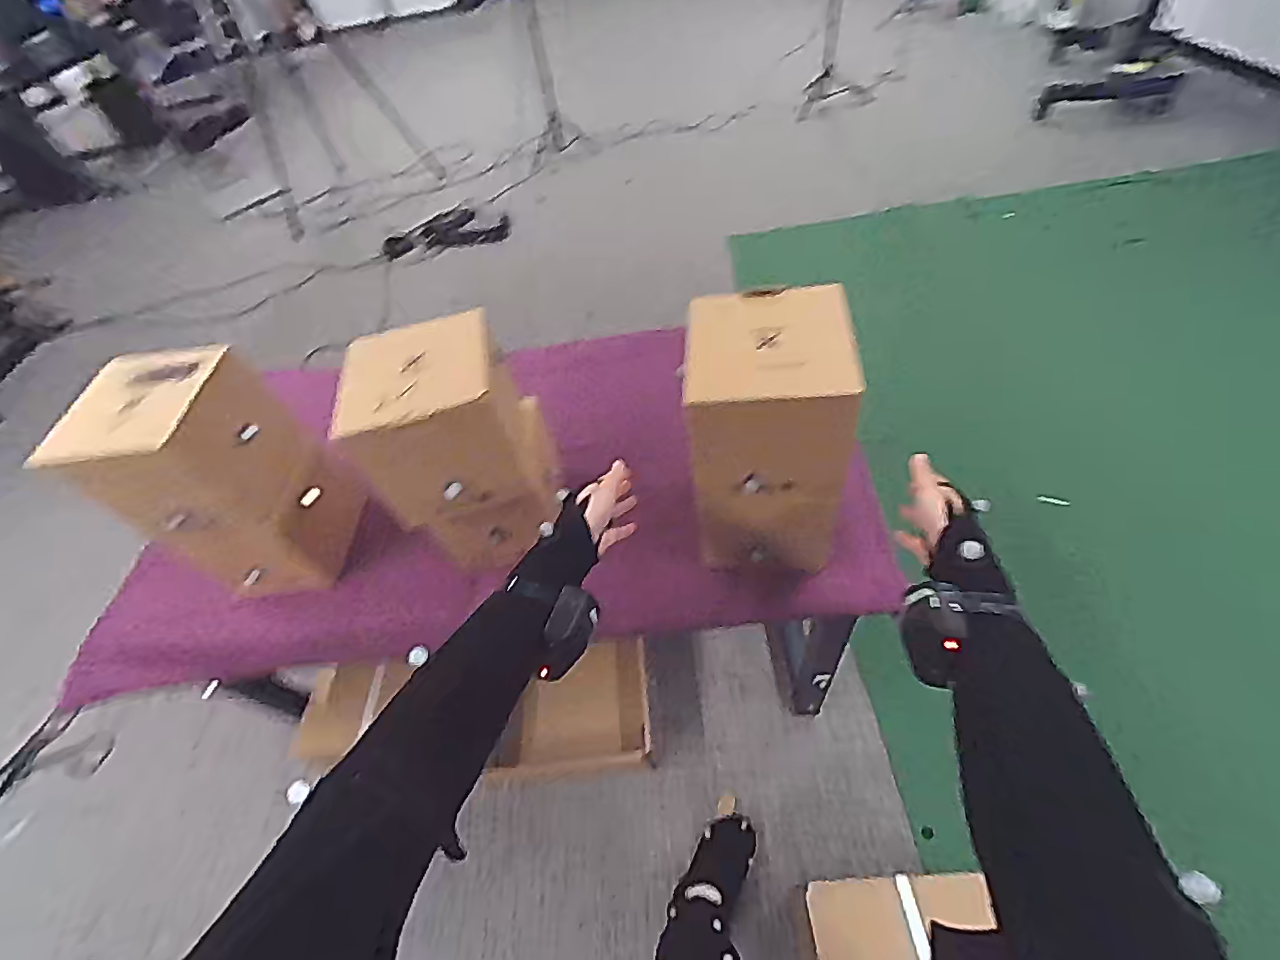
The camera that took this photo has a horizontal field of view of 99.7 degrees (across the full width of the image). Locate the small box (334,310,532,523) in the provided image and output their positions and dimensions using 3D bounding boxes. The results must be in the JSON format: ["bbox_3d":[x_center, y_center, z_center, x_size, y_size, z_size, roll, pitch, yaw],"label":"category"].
[{"bbox_3d":[-0.241,-0.076,0.669,0.168,0.176,0.179,-16,50,-2],"label":"small box"}]

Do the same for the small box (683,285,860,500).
[{"bbox_3d":[0.141,-0.096,0.619,0.168,0.176,0.179,-1,52,11],"label":"small box"}]

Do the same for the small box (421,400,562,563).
[{"bbox_3d":[-0.215,0.010,0.811,0.168,0.176,0.179,-9,50,1],"label":"small box"}]

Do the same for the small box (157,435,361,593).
[{"bbox_3d":[-0.566,0.055,0.837,0.168,0.176,0.179,-6,51,5],"label":"small box"}]
